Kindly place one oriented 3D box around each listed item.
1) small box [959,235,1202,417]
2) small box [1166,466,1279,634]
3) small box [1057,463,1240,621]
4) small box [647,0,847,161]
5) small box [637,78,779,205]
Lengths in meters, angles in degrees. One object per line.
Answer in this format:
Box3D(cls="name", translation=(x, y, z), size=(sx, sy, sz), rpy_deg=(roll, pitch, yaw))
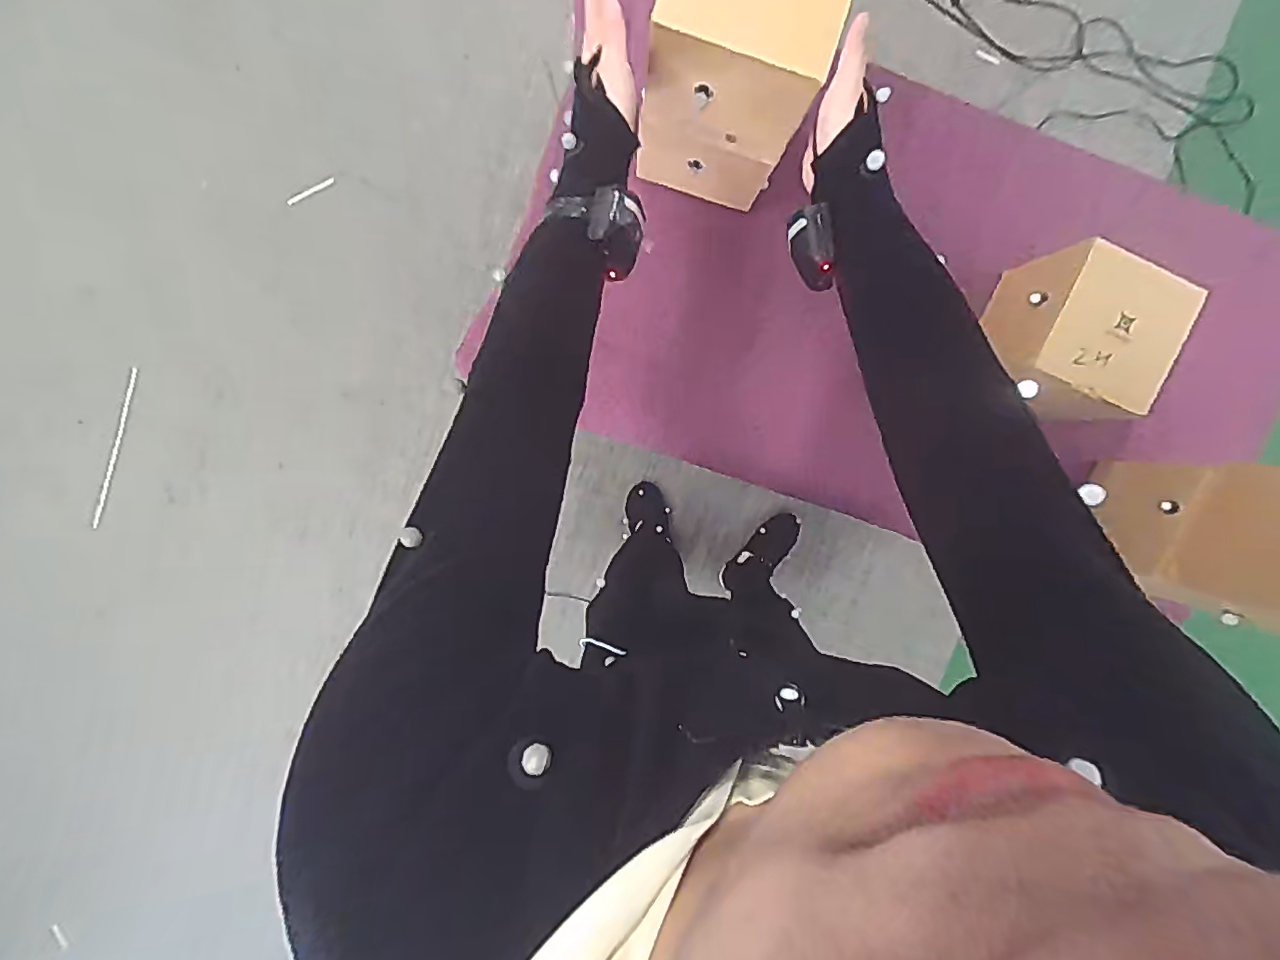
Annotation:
Box3D(cls="small box", translation=(0.595, -0.201, 0.758), size=(0.168, 0.176, 0.179), rpy_deg=(24, 95, -4))
Box3D(cls="small box", translation=(0.787, 0.092, 0.628), size=(0.168, 0.176, 0.179), rpy_deg=(23, 94, -2))
Box3D(cls="small box", translation=(0.780, 0.080, 0.791), size=(0.179, 0.176, 0.168), rpy_deg=(23, 94, -4))
Box3D(cls="small box", translation=(0.109, -0.467, 0.551), size=(0.168, 0.176, 0.179), rpy_deg=(16, 95, -3))
Box3D(cls="small box", translation=(0.101, -0.491, 0.711), size=(0.179, 0.176, 0.168), rpy_deg=(16, 95, -3))
